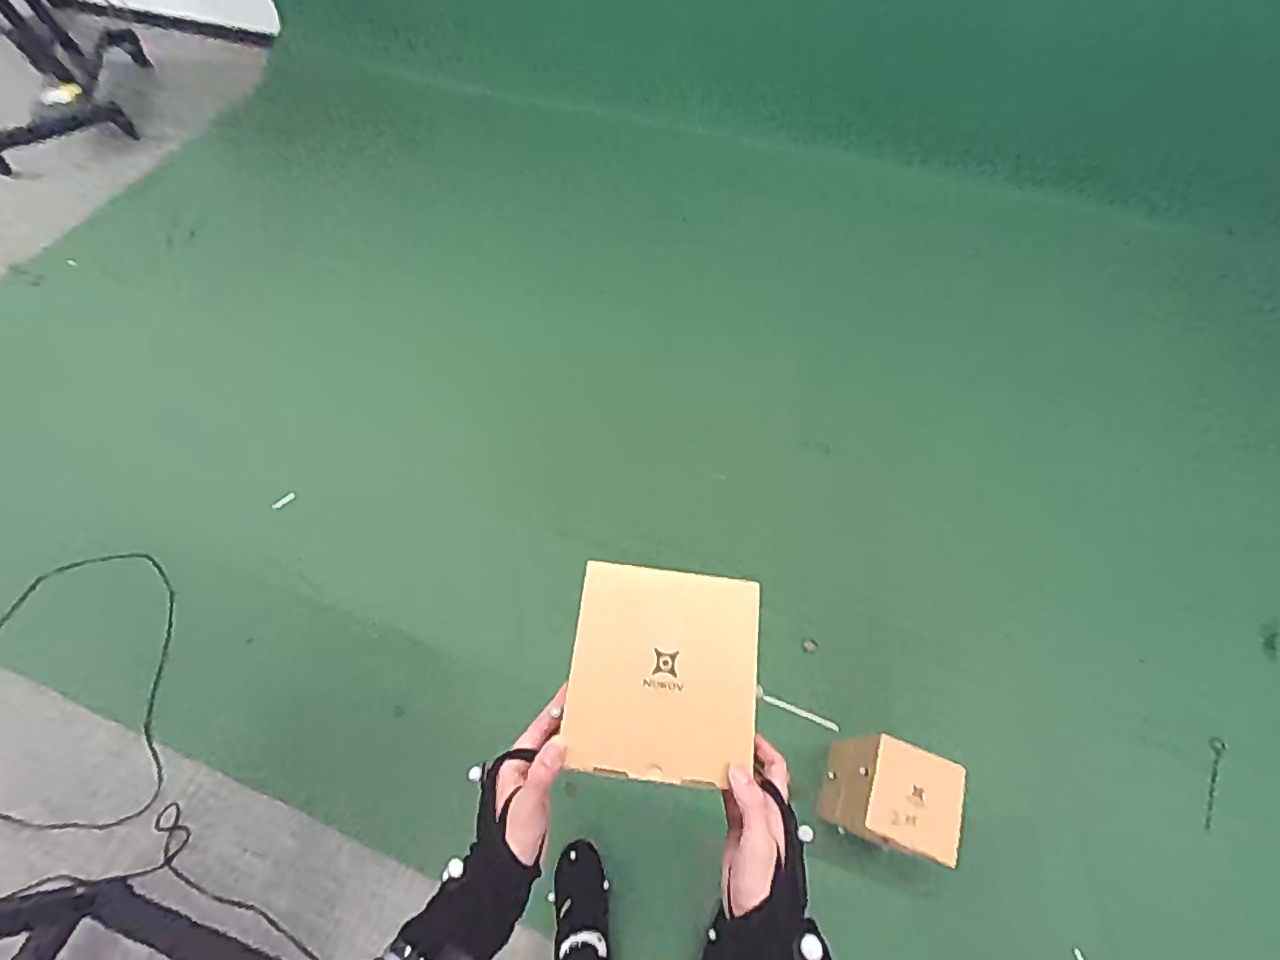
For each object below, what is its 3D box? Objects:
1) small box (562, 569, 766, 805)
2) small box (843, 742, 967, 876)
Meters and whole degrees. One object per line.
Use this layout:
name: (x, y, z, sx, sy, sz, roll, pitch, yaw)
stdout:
small box: (0.019, 0.201, 0.540, 0.168, 0.176, 0.179, 8, 69, -2)
small box: (0.530, 0.657, 1.096, 0.168, 0.176, 0.179, 20, 63, 11)
